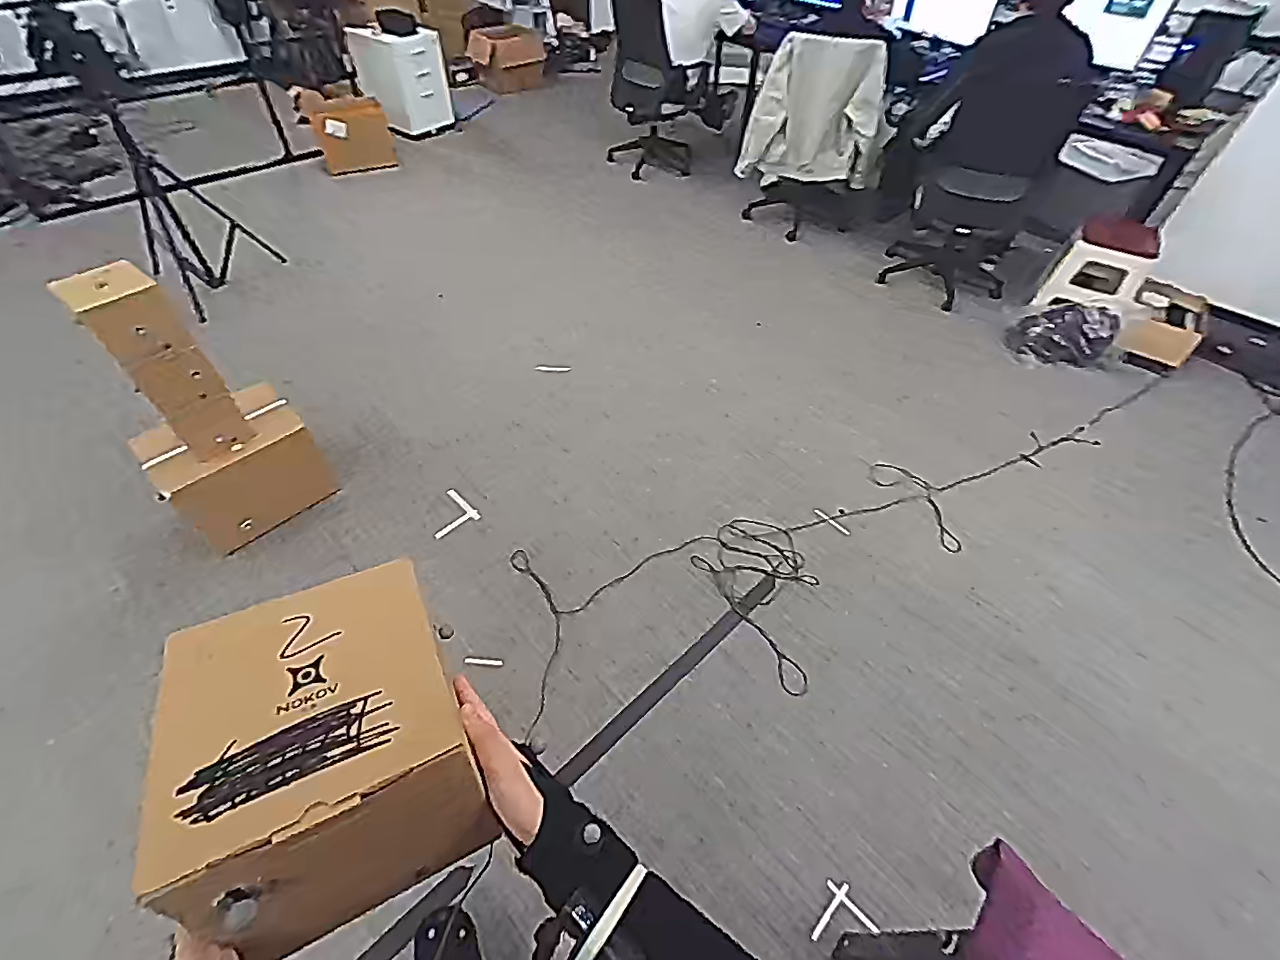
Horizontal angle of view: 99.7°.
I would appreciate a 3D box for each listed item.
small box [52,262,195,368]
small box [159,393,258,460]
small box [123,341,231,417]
[{"bbox_3d":[-1.256,-0.400,1.329,0.179,0.176,0.168,31,54,22],"label":"small box"},{"bbox_3d":[-1.269,-0.189,1.579,0.179,0.176,0.168,37,58,24],"label":"small box"},{"bbox_3d":[-1.257,-0.293,1.455,0.179,0.176,0.168,34,56,25],"label":"small box"}]
